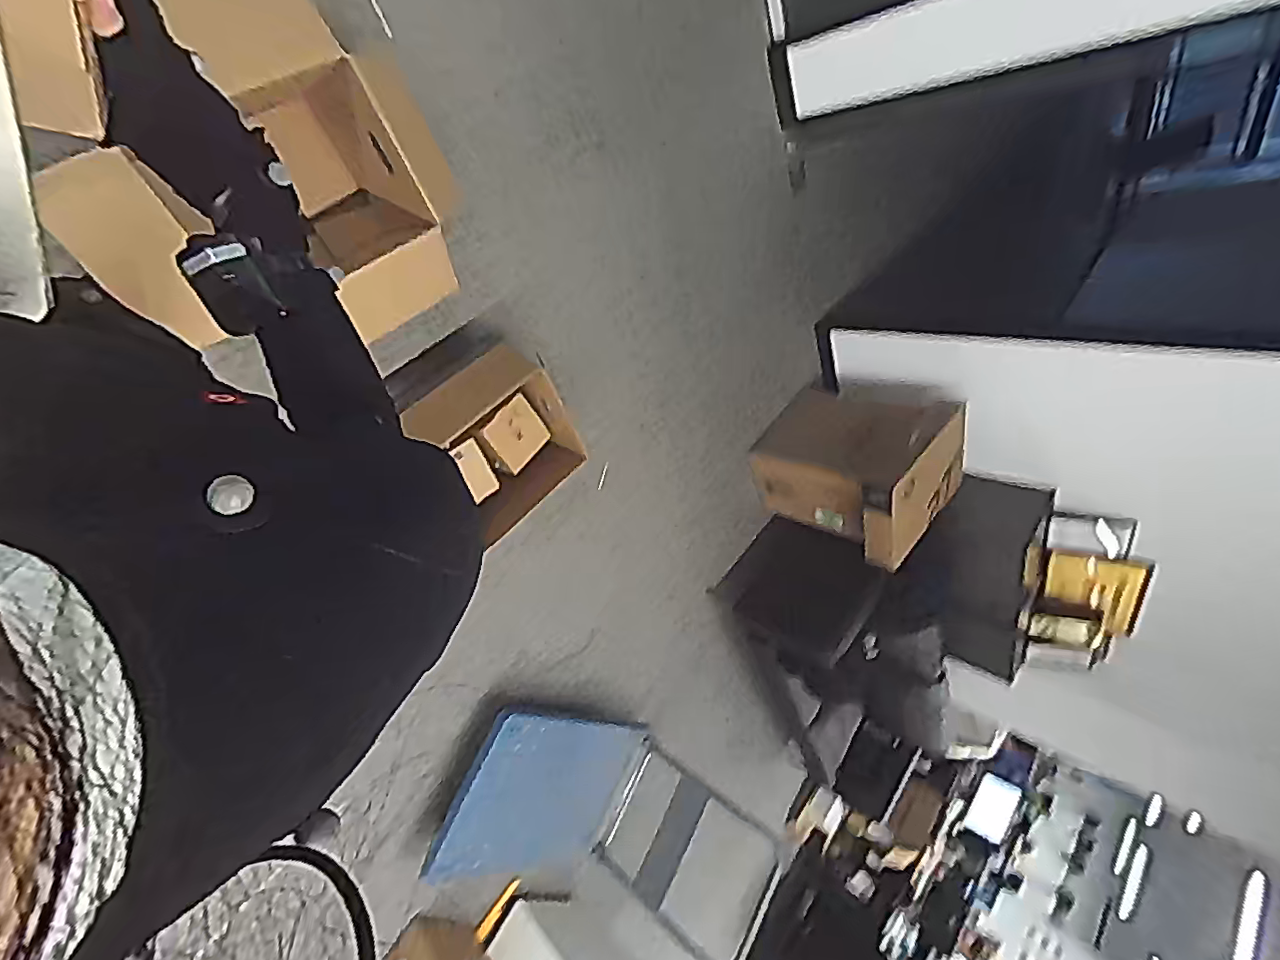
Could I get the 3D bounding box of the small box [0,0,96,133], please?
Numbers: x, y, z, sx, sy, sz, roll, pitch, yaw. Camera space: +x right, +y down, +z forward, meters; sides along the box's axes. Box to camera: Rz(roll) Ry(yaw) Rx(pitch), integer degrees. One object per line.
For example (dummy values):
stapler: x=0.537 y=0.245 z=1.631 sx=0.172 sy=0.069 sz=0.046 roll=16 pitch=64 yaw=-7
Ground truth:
small box: x=-0.381 y=-0.283 z=0.241 sx=0.179 sy=0.176 sz=0.168 roll=-9 pitch=127 yaw=-41
